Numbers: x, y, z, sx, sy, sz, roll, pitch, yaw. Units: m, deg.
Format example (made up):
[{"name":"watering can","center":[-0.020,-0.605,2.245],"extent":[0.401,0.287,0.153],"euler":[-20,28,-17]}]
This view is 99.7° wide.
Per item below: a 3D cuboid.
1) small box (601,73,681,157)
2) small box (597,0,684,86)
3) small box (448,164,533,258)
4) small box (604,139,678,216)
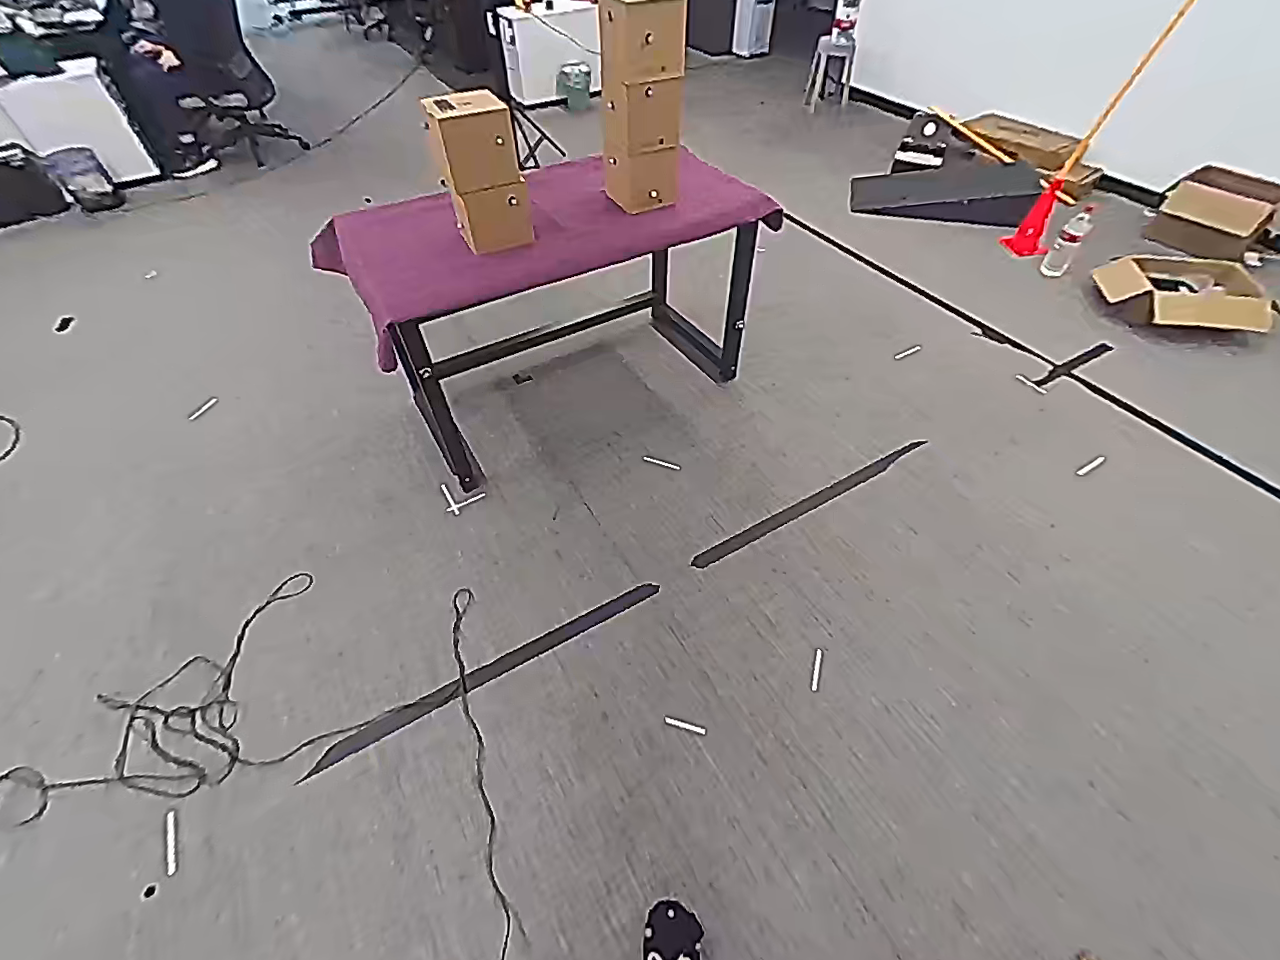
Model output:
[{"name":"small box","center":[0.002,-1.037,1.525],"extent":[0.168,0.176,0.179],"euler":[-21,52,-15]},{"name":"small box","center":[0.003,-1.138,1.396],"extent":[0.168,0.176,0.179],"euler":[-22,52,-15]},{"name":"small box","center":[-0.407,-0.743,1.498],"extent":[0.179,0.176,0.168],"euler":[-22,52,-17]},{"name":"small box","center":[0.002,-0.935,1.653],"extent":[0.168,0.176,0.179],"euler":[-23,54,-17]}]
